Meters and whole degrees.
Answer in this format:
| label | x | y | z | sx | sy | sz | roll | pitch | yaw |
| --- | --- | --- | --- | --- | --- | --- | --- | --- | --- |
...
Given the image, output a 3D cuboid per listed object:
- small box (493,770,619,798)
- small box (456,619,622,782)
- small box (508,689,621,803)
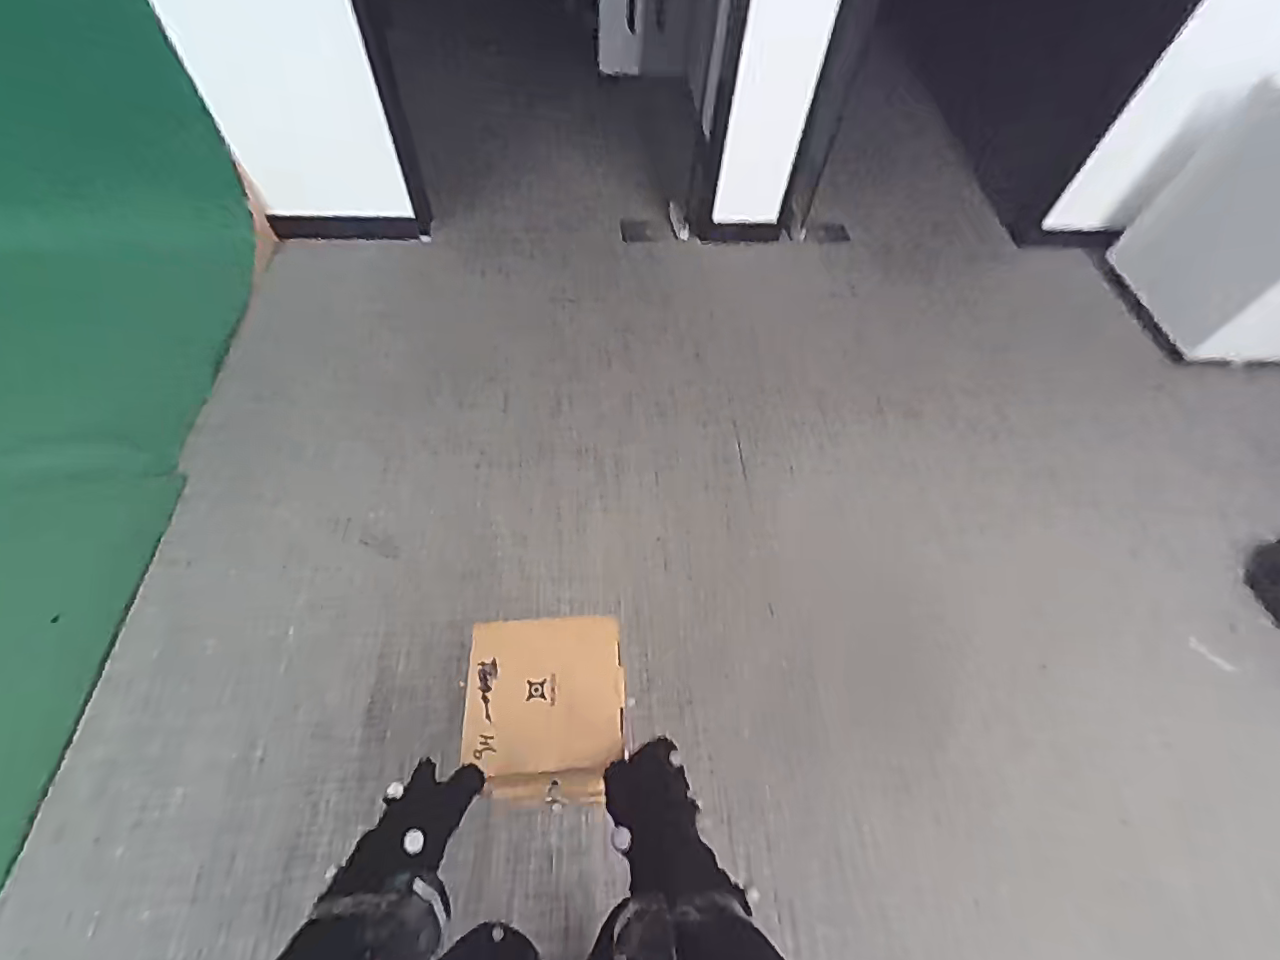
| label | x | y | z | sx | sy | sz | roll | pitch | yaw |
| --- | --- | --- | --- | --- | --- | --- | --- | --- | --- |
| small box | -0.116 | 0.374 | 0.816 | 0.168 | 0.176 | 0.179 | -2 | 59 | -2 |
| small box | -0.113 | 0.281 | 0.682 | 0.179 | 0.176 | 0.168 | -1 | 57 | -2 |
| small box | -0.122 | 0.468 | 0.948 | 0.179 | 0.176 | 0.168 | 1 | 57 | -3 |
